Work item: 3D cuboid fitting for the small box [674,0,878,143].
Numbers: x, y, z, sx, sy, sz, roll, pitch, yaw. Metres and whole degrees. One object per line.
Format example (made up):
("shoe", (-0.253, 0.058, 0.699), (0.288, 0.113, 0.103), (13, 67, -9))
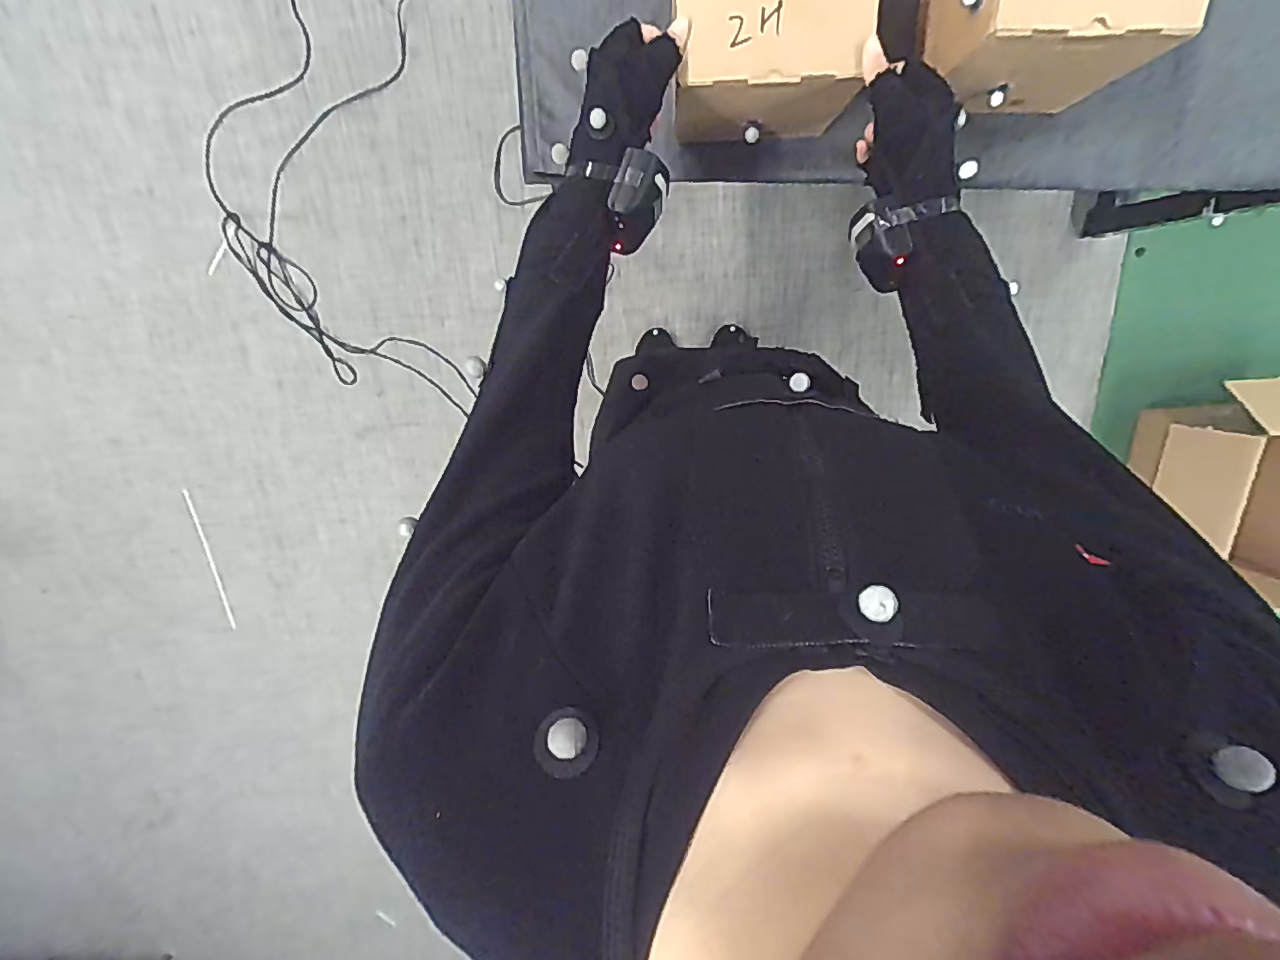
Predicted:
("small box", (0.117, -0.446, 0.514), (0.168, 0.176, 0.179), (-1, 108, 3))
